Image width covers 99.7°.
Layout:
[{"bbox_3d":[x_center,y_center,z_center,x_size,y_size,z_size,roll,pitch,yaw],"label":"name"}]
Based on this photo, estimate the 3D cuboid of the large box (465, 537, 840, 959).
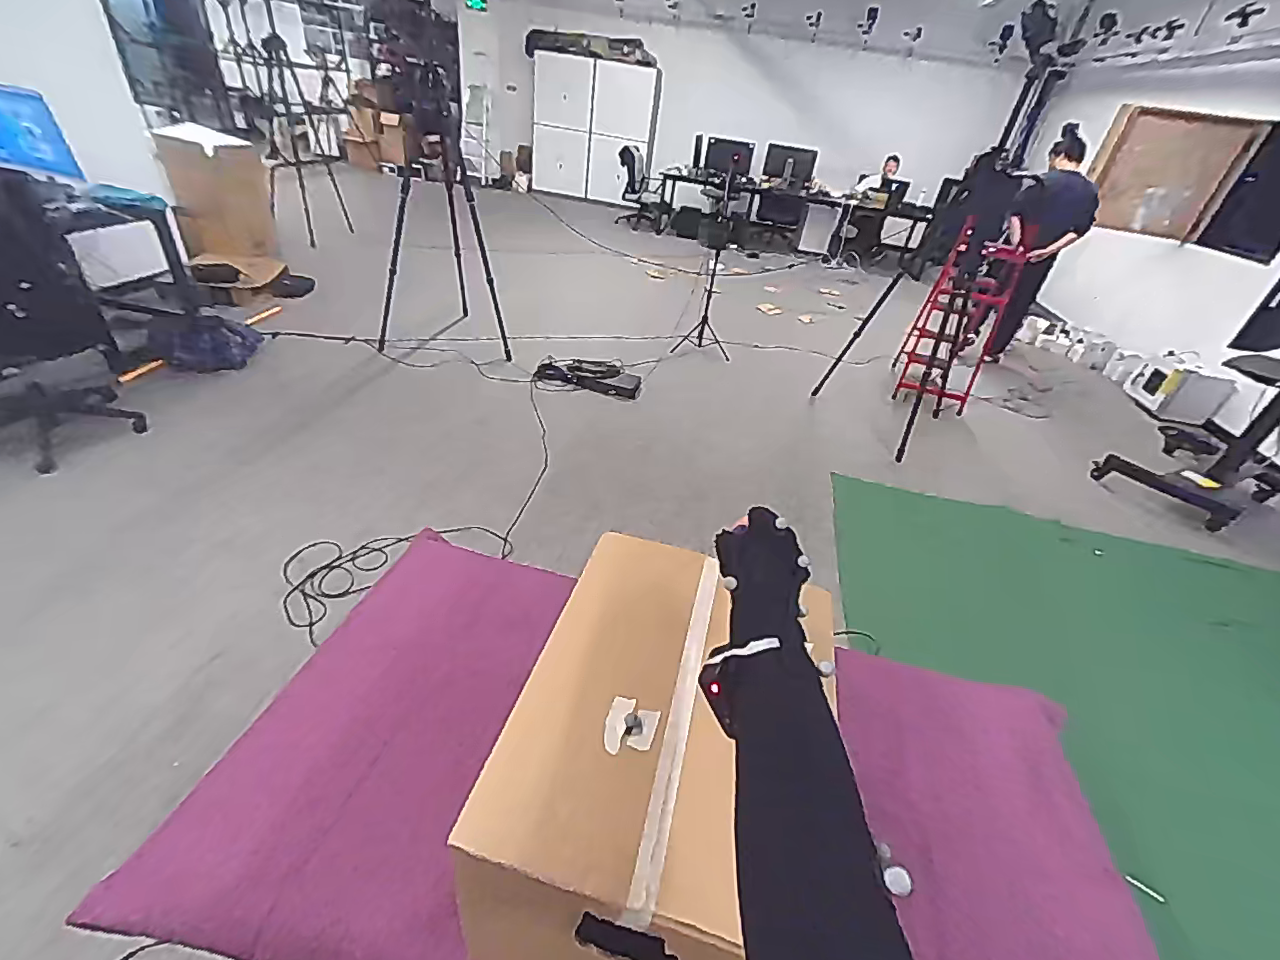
[{"bbox_3d":[0.028,0.342,0.661,0.320,0.320,0.408,15,36,8],"label":"large box"}]
